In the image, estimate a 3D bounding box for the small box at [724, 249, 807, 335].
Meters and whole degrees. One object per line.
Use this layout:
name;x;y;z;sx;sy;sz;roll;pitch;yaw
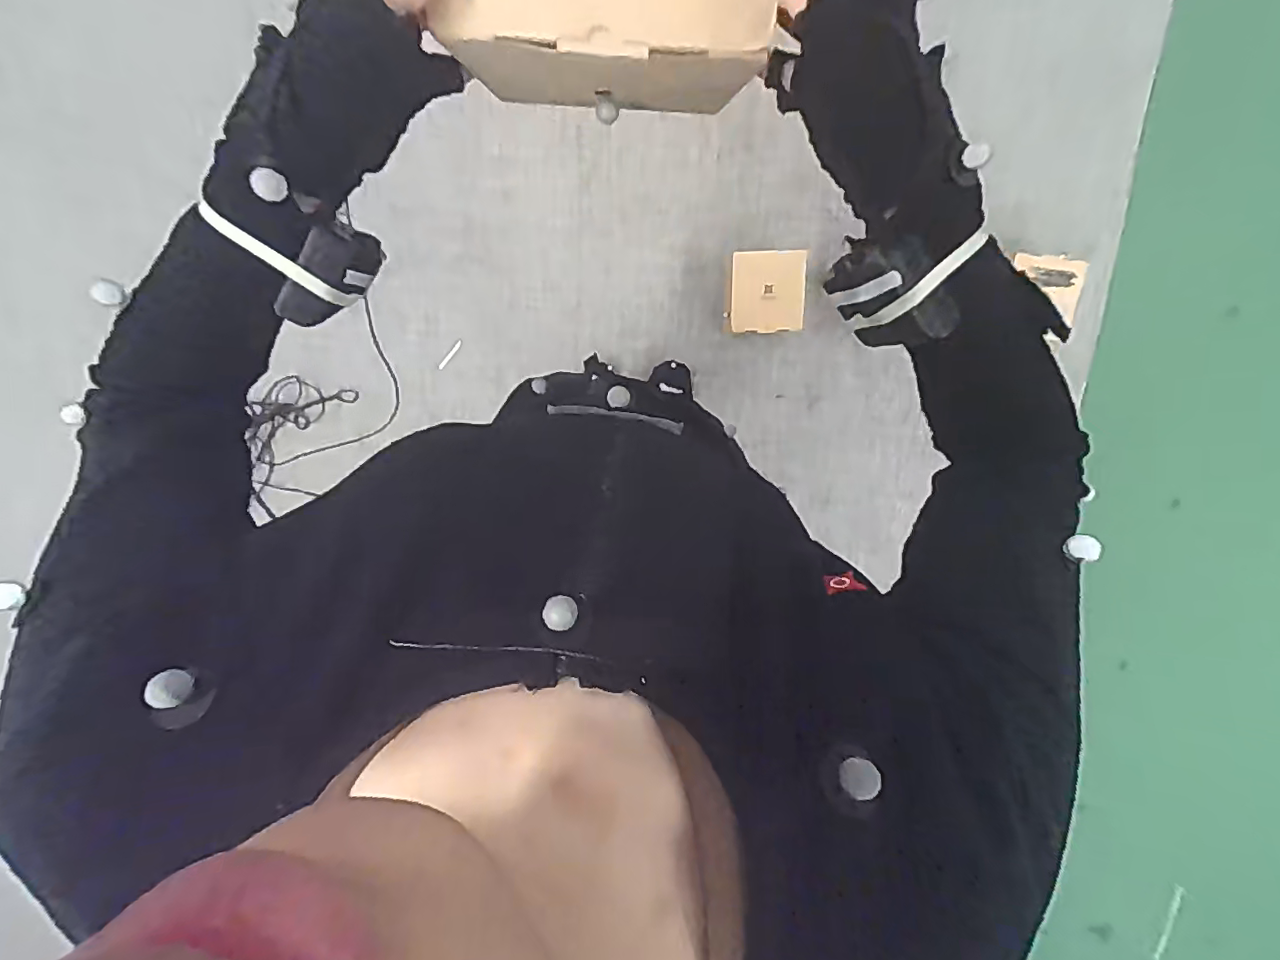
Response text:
small box;0.291;-0.441;1.290;0.168;0.176;0.179;-1;104;2

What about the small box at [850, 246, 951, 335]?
small box;0.609;-0.439;1.280;0.168;0.176;0.179;-5;102;2
